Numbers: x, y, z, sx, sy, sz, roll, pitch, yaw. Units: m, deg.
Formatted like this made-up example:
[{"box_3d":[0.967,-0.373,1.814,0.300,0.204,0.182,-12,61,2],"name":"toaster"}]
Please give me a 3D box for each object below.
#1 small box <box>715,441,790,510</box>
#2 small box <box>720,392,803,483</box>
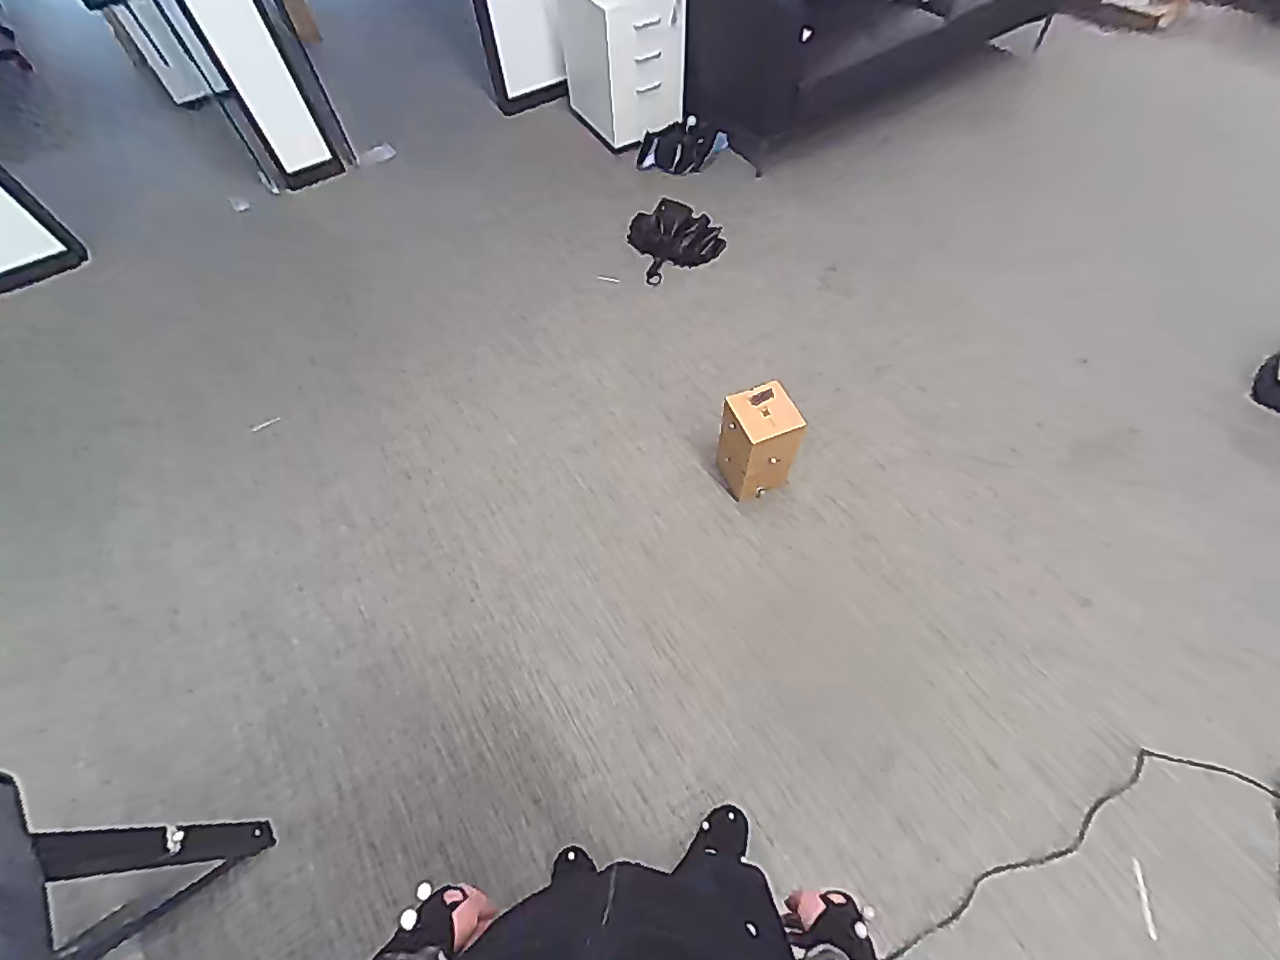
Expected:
[{"box_3d":[0.349,-0.035,1.718,0.168,0.176,0.179,-20,61,-9],"name":"small box"},{"box_3d":[0.345,-0.121,1.577,0.168,0.176,0.179,-19,60,-8],"name":"small box"}]
